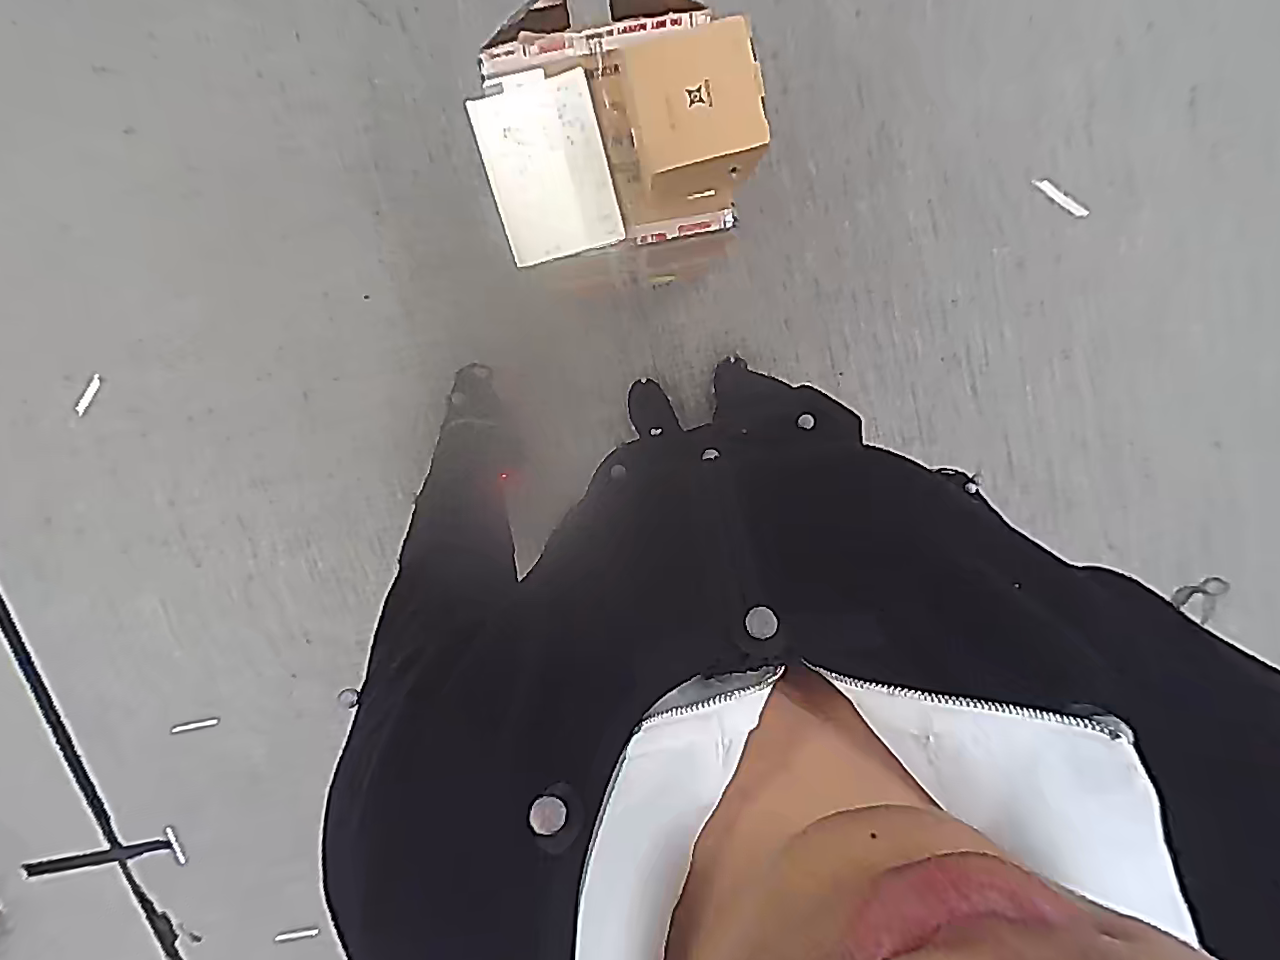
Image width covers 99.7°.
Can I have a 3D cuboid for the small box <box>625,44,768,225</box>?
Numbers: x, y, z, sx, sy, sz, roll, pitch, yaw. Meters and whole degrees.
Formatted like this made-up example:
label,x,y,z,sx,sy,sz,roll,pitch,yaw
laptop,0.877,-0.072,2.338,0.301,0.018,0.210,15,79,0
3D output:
label,x,y,z,sx,sy,sz,roll,pitch,yaw
small box,0.080,-0.520,0.841,0.179,0.176,0.168,-15,101,3
